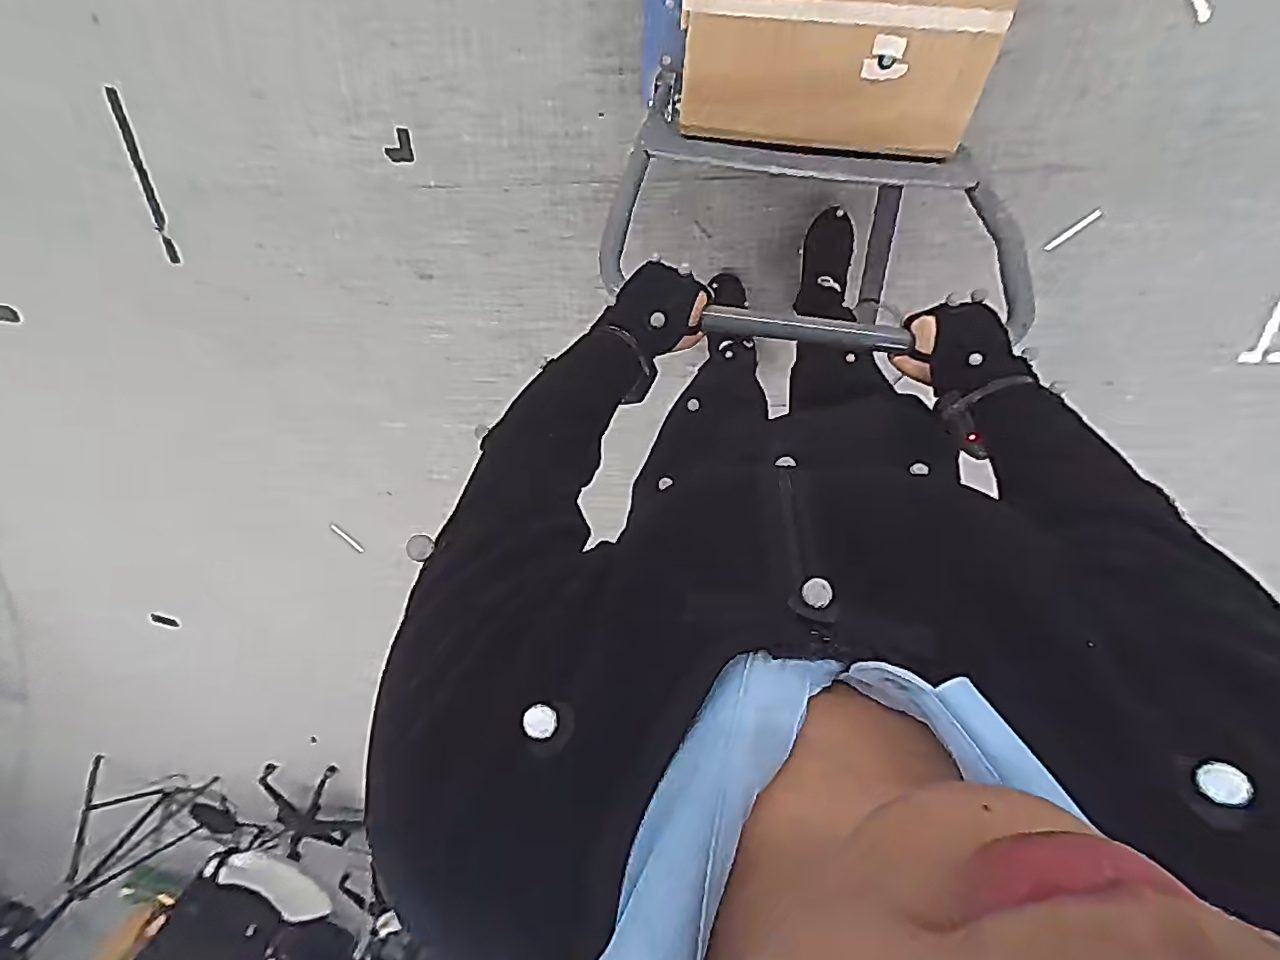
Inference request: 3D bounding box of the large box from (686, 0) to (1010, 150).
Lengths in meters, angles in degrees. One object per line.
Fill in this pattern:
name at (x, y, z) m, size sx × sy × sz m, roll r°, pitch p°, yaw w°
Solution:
large box at (0.286, -0.719, 0.805) m, size 0.408 × 0.320 × 0.320 m, roll 7°, pitch 138°, yaw 4°
